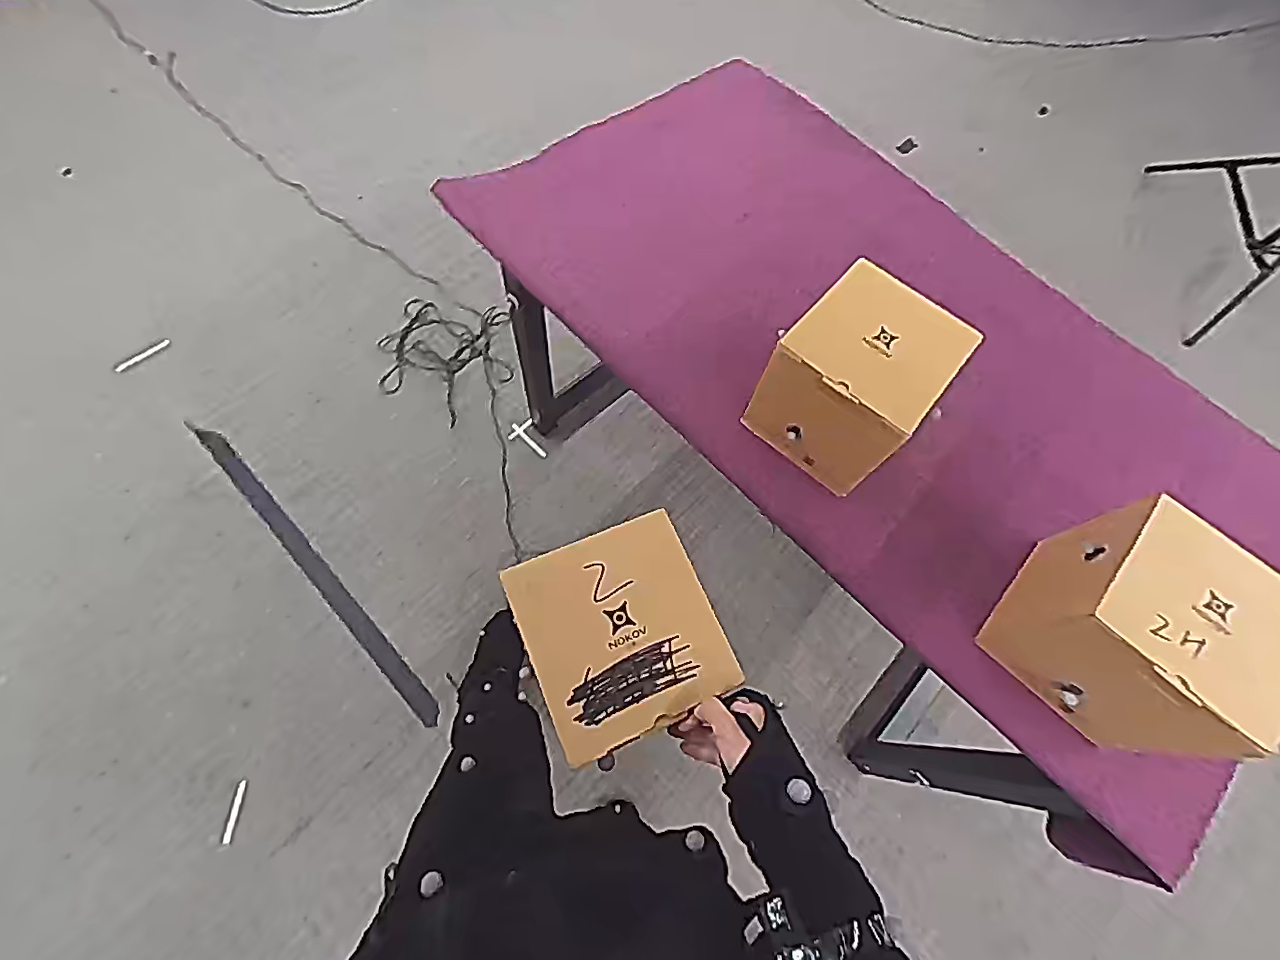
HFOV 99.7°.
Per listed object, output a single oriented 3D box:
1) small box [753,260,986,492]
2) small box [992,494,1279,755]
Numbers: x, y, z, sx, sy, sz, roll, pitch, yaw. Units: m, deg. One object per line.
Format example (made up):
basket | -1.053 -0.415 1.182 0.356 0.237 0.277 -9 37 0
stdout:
small box | 0.261 -0.118 0.656 0.168 0.176 0.179 39 70 12
small box | 0.517 0.151 0.561 0.168 0.176 0.179 42 69 14
